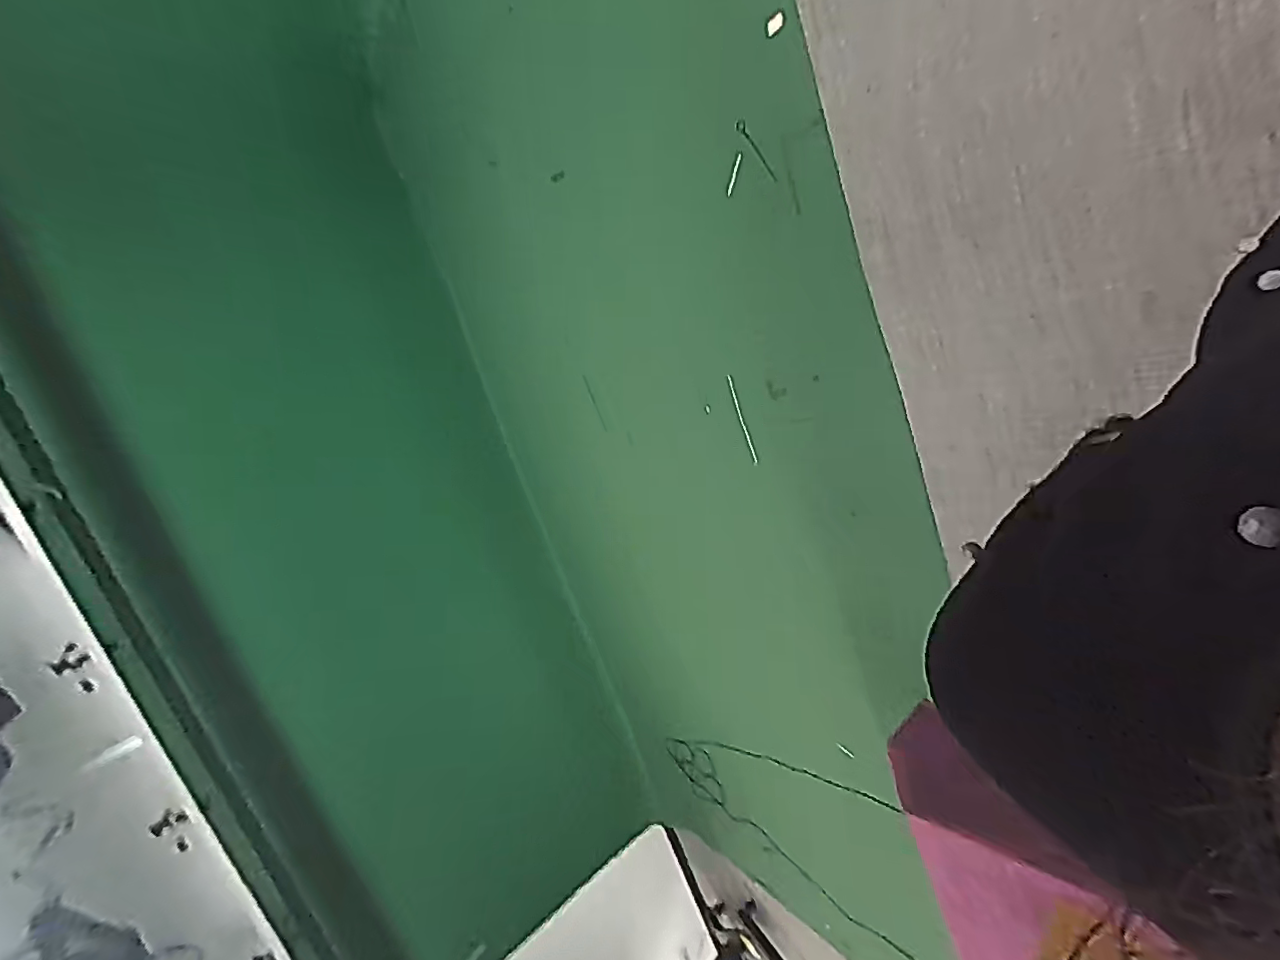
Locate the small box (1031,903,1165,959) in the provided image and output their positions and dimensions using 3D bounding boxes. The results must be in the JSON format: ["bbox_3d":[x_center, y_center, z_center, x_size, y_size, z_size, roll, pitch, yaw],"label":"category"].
[{"bbox_3d":[0.741,0.837,0.856,0.179,0.176,0.168,2,114,56],"label":"small box"}]
